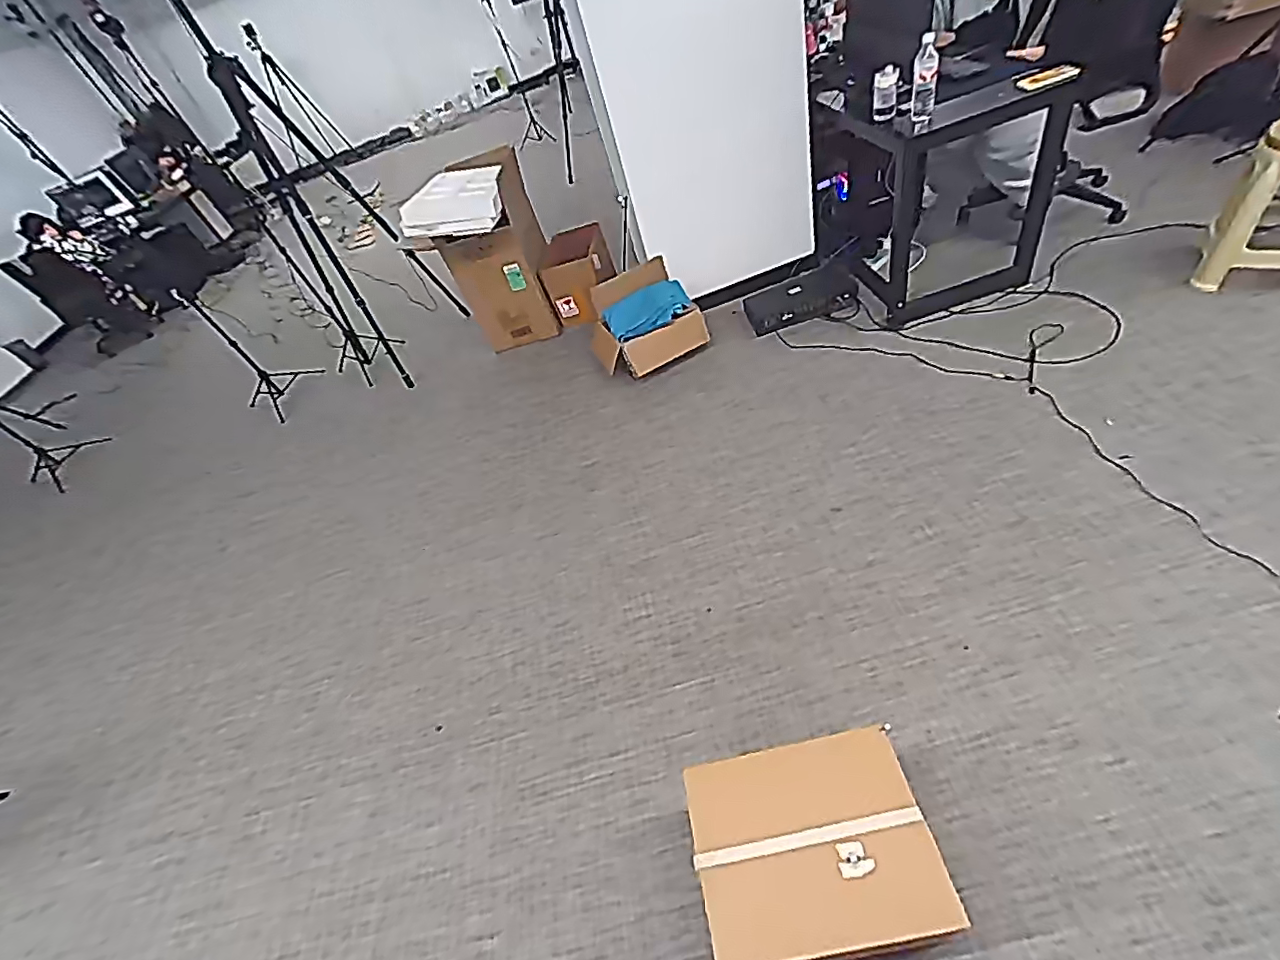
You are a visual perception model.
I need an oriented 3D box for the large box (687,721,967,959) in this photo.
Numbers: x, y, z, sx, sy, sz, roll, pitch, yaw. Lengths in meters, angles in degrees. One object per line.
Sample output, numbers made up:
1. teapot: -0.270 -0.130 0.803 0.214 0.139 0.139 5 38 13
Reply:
1. large box: 0.340 0.731 1.067 0.408 0.320 0.320 -16 45 5
